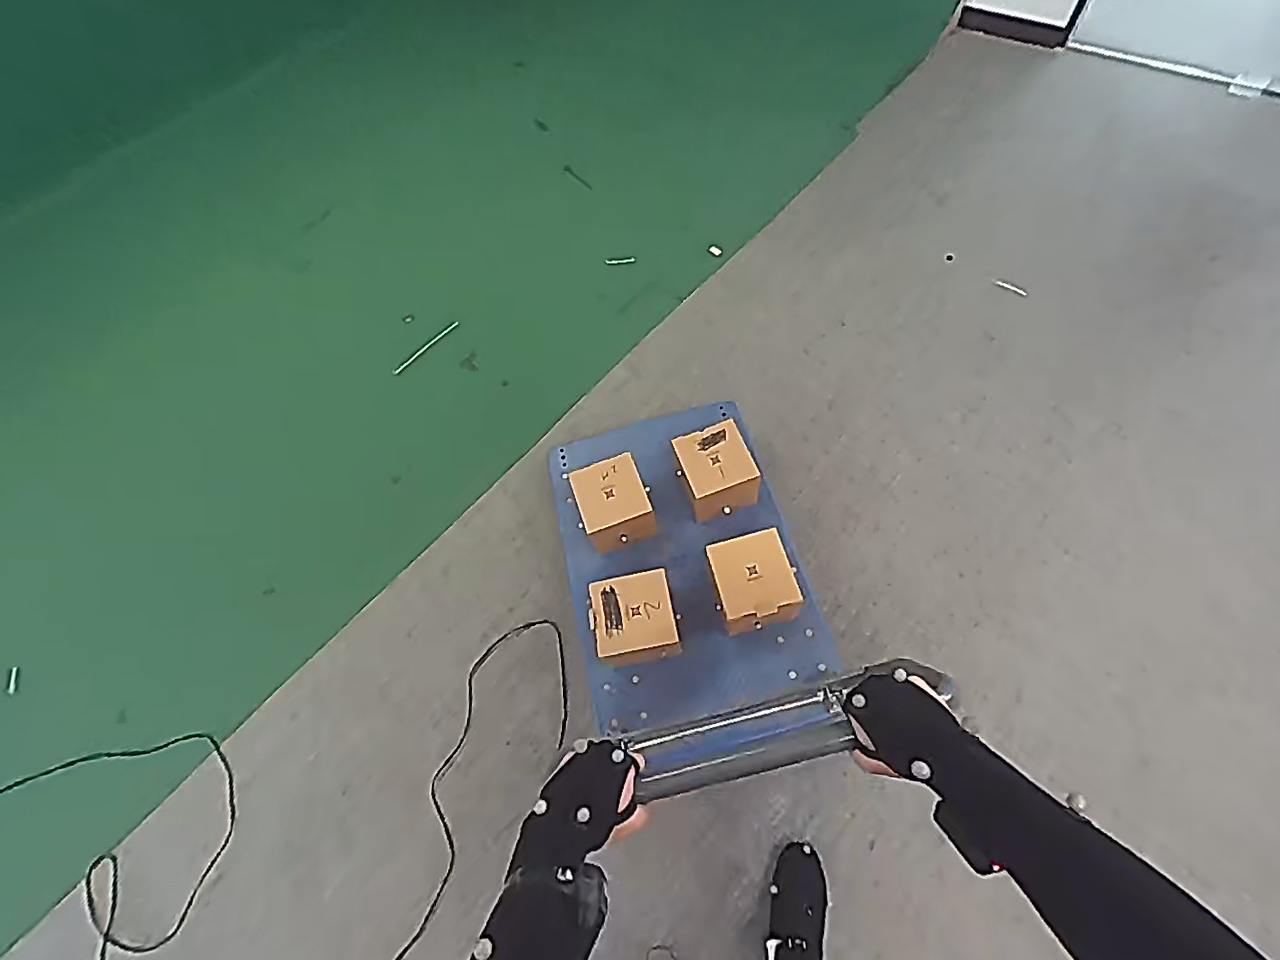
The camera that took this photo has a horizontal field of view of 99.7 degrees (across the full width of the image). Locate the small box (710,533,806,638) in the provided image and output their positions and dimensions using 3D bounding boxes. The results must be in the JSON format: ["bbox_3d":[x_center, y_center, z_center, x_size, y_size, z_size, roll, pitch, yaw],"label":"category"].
[{"bbox_3d":[0.260,0.247,1.244,0.168,0.176,0.179,-15,63,0],"label":"small box"}]

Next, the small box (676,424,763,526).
[{"bbox_3d":[0.197,-0.008,1.380,0.168,0.176,0.179,-19,63,-2],"label":"small box"}]

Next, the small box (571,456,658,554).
[{"bbox_3d":[-0.059,0.073,1.372,0.168,0.176,0.179,-19,63,-3],"label":"small box"}]
